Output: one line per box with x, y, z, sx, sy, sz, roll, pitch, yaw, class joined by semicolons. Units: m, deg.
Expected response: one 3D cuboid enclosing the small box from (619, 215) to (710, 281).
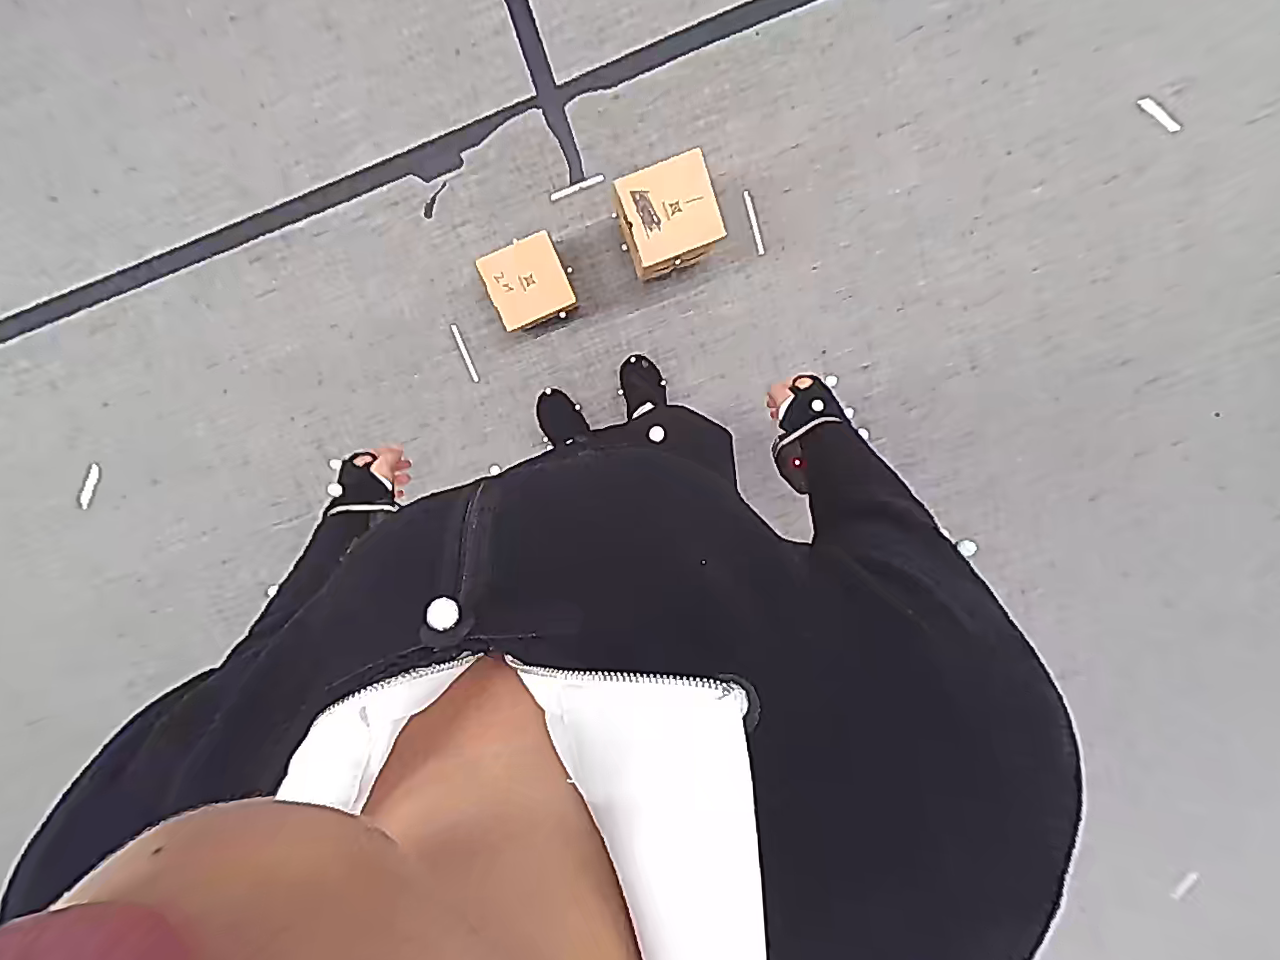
0.053;-0.577;1.269;0.168;0.176;0.179;-18;107;2;small box

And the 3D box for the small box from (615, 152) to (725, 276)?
0.057;-0.532;1.109;0.179;0.176;0.168;-20;105;2;small box

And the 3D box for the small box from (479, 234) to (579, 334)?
-0.253;-0.460;1.285;0.179;0.176;0.168;-22;105;4;small box
